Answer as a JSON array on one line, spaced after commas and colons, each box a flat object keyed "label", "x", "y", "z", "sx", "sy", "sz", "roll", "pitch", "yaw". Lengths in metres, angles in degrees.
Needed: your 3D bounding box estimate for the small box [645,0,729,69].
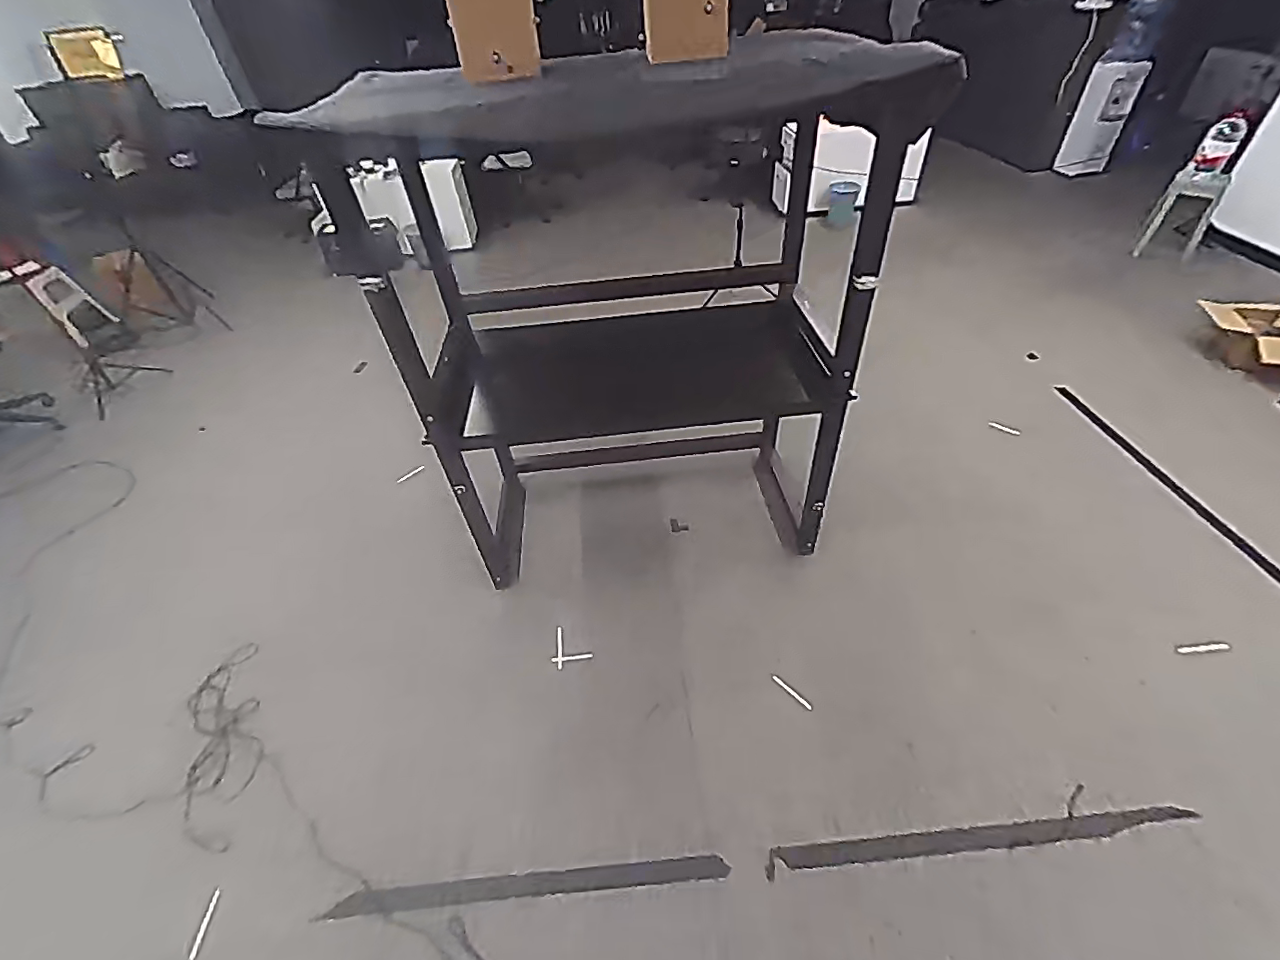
[{"label": "small box", "x": 0.103, "y": -1.051, "z": 1.222, "sx": 0.179, "sy": 0.176, "sz": 0.168, "roll": -5, "pitch": 43, "yaw": 1}]
